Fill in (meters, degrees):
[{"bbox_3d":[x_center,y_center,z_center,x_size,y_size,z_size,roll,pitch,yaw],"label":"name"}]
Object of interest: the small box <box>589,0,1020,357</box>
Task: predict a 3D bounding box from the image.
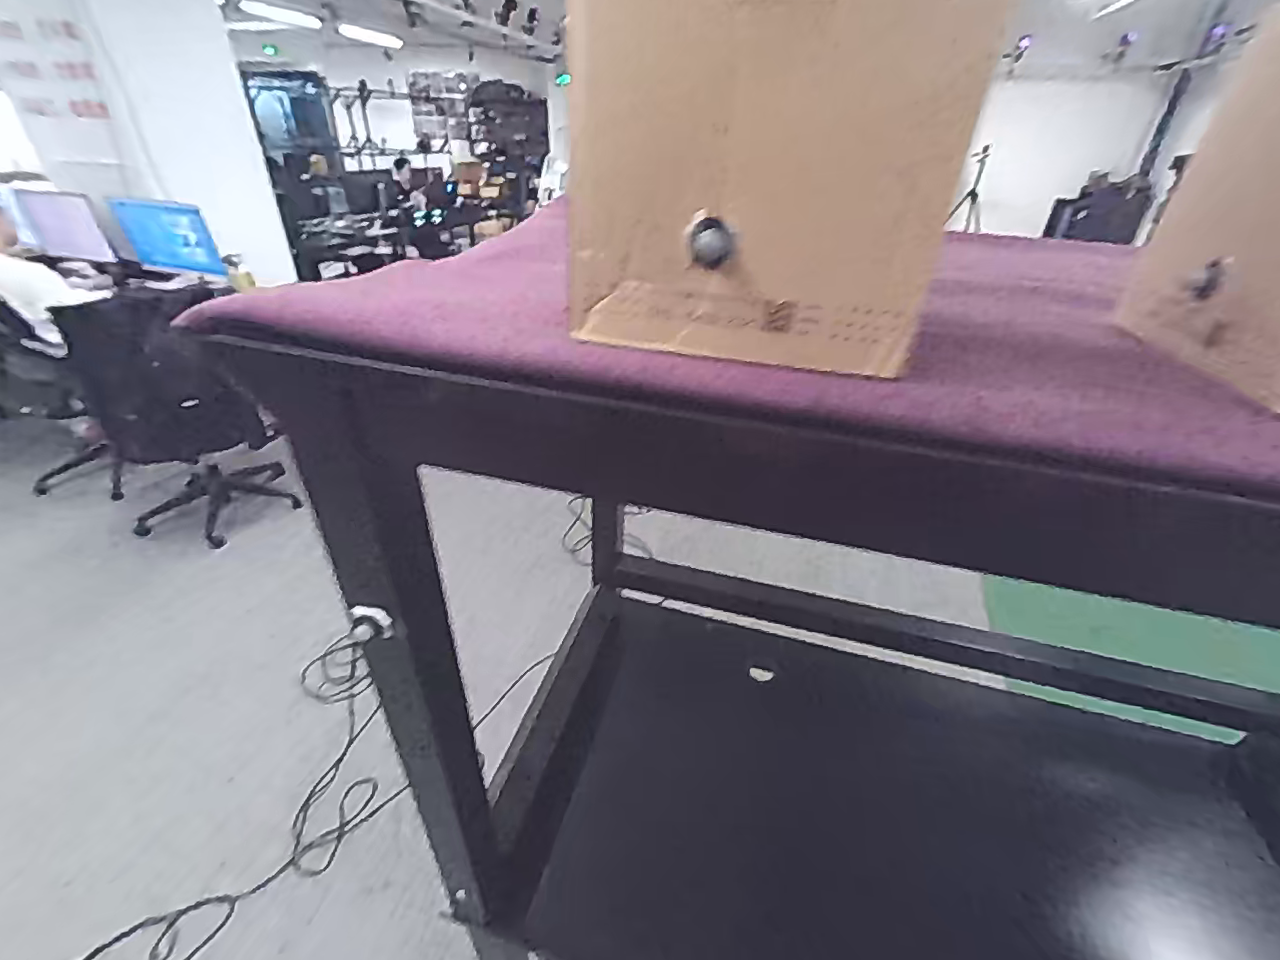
[{"bbox_3d":[0.070,-0.182,0.299,0.168,0.176,0.179,9,32,9],"label":"small box"}]
